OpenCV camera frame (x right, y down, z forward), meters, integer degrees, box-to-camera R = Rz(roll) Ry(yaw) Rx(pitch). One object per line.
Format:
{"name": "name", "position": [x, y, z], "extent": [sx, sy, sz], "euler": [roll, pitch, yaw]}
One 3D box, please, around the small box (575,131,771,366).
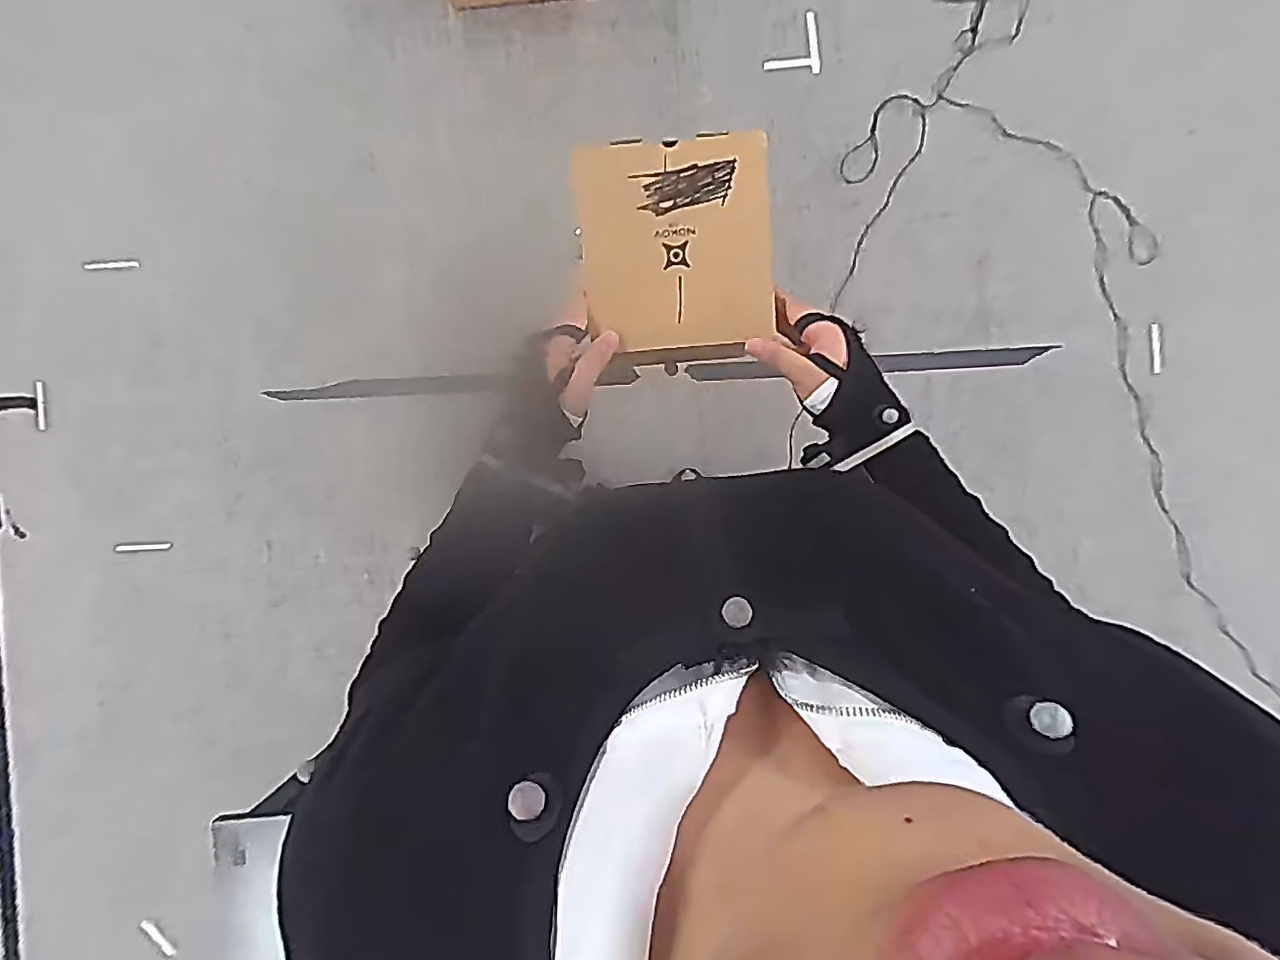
{"name": "small box", "position": [0.029, -0.216, 0.549], "extent": [0.168, 0.176, 0.179], "euler": [-5, 98, 1]}
